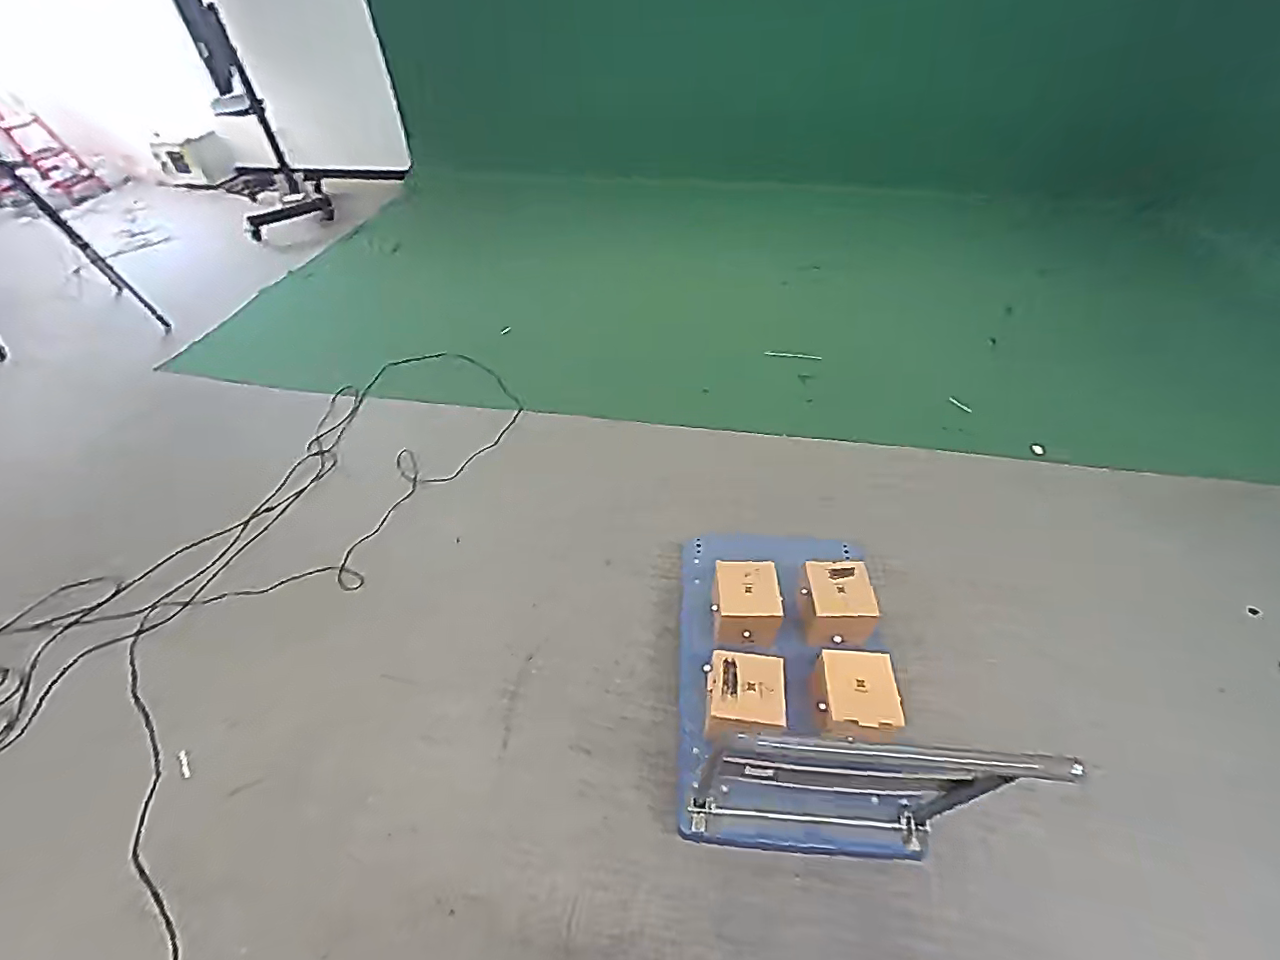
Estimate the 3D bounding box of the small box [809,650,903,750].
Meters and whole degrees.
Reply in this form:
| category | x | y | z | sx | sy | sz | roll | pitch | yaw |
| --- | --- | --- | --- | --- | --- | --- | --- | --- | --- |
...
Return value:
| category | x | y | z | sx | sy | sz | roll | pitch | yaw |
| --- | --- | --- | --- | --- | --- | --- | --- | --- | --- |
| small box | 0.529 | 0.550 | 1.351 | 0.168 | 0.176 | 0.179 | 3 | 47 | 5 |

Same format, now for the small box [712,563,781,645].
| category | x | y | z | sx | sy | sz | roll | pitch | yaw |
| --- | --- | --- | --- | --- | --- | --- | --- | --- | --- |
| small box | 0.297 | 0.355 | 1.541 | 0.168 | 0.176 | 0.179 | 1 | 47 | 1 |

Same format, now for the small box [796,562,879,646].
| category | x | y | z | sx | sy | sz | roll | pitch | yaw |
| --- | --- | --- | --- | --- | --- | --- | --- | --- | --- |
| small box | 0.550 | 0.352 | 1.534 | 0.168 | 0.176 | 0.179 | -1 | 48 | 2 |
